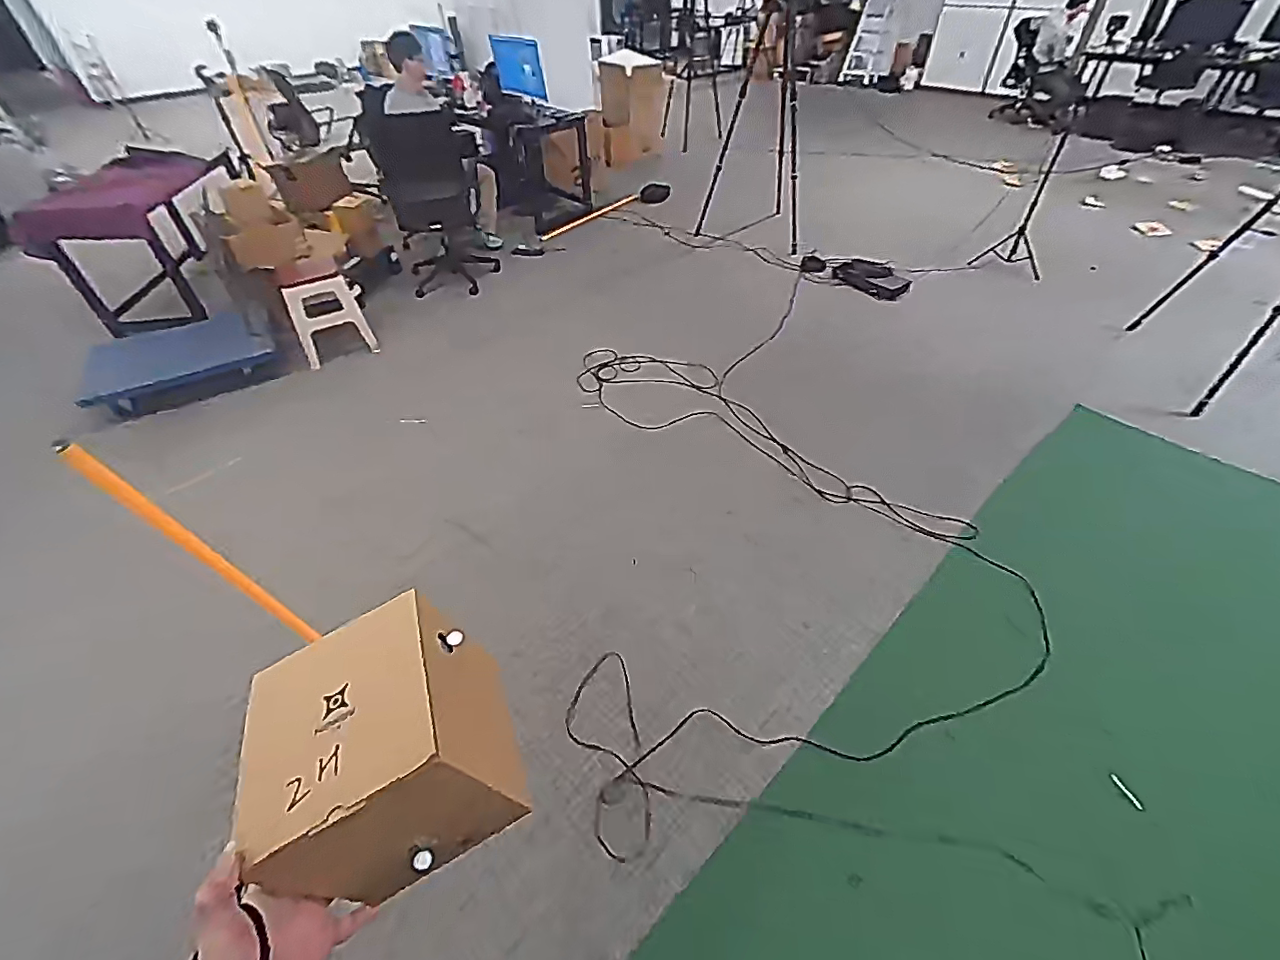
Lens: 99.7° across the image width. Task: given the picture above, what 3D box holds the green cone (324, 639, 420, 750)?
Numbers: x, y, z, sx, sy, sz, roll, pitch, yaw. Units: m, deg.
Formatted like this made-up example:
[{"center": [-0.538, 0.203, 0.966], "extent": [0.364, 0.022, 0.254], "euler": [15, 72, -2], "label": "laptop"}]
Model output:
[{"center": [-0.791, 0.556, 1.505], "extent": [0.202, 0.368, 0.200], "euler": [-33, 53, -29], "label": "green cone"}]
